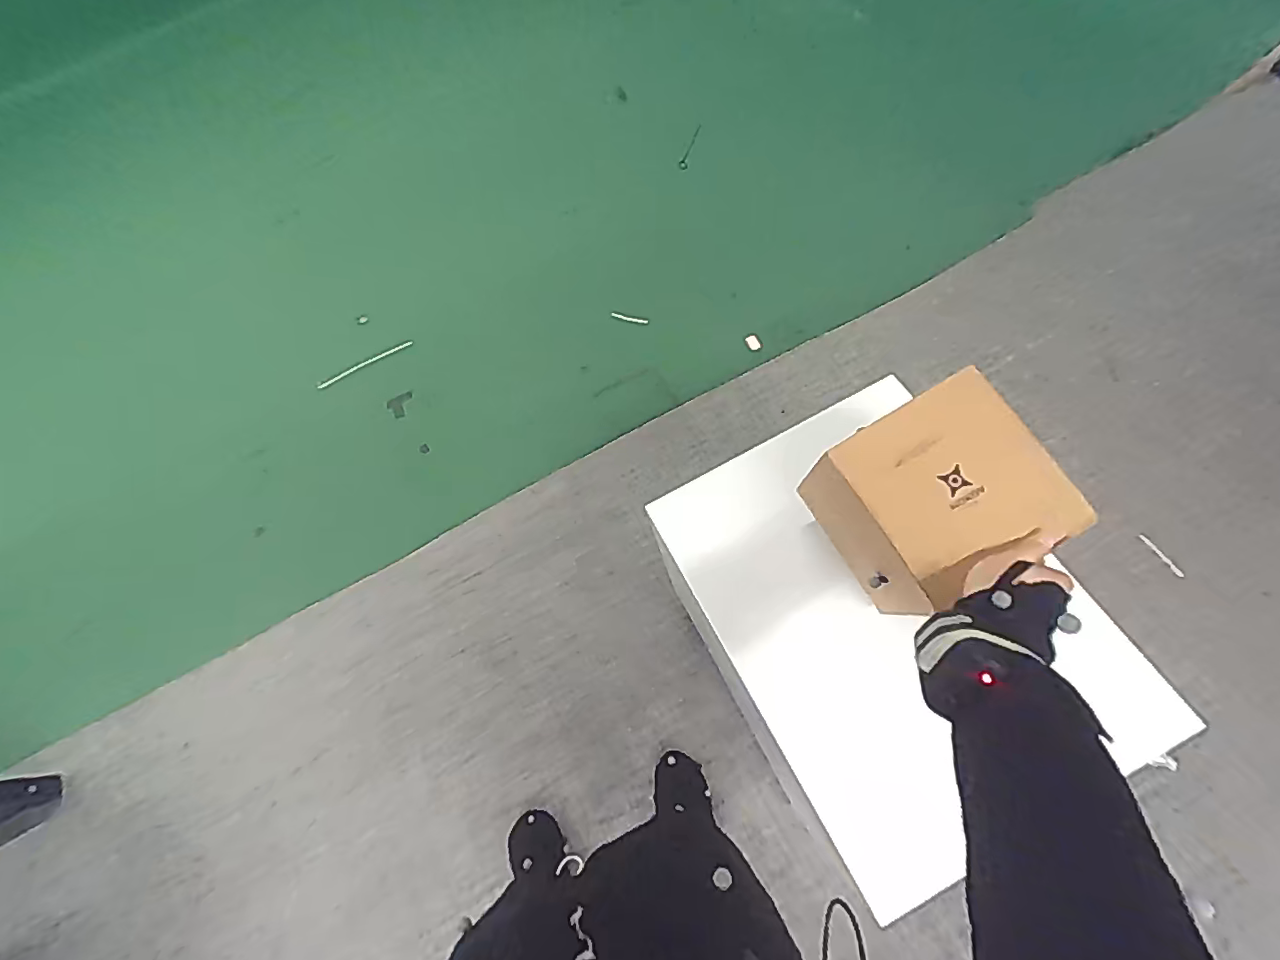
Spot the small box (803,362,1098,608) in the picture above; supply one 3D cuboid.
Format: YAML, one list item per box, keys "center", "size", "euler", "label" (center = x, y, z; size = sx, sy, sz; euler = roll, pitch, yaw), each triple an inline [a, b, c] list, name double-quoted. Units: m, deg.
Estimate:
- center: [0.296, 0.017, 0.564]
  size: [0.168, 0.176, 0.179]
  euler: [-31, 74, -2]
  label: "small box"
